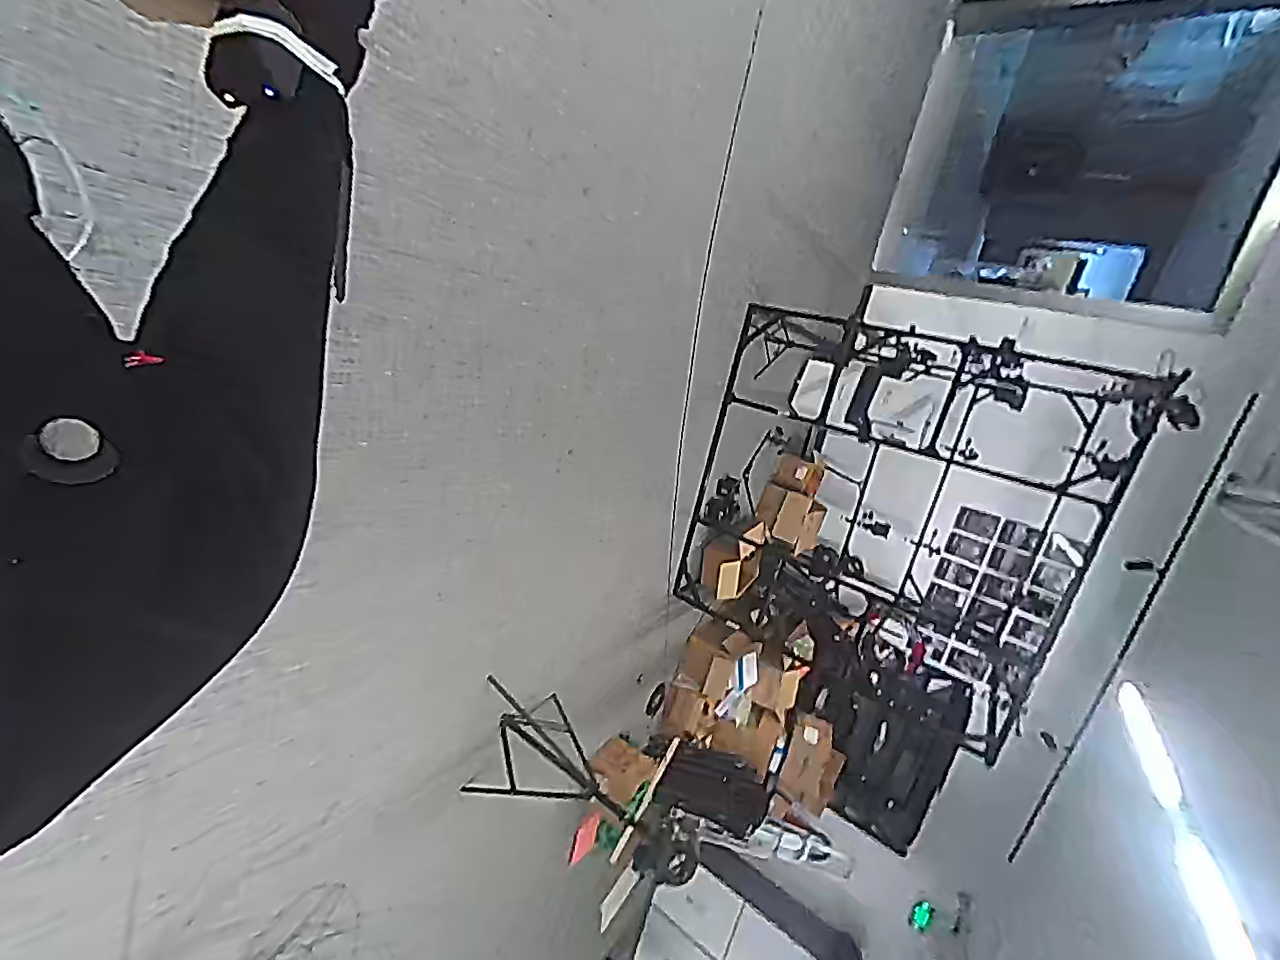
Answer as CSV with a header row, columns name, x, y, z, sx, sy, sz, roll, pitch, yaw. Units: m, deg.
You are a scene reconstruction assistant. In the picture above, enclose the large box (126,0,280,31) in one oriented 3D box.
name,x,y,z,sx,sy,sz,roll,pitch,yaw
large box,-0.441,-0.581,0.313,0.320,0.320,0.408,-61,151,8
